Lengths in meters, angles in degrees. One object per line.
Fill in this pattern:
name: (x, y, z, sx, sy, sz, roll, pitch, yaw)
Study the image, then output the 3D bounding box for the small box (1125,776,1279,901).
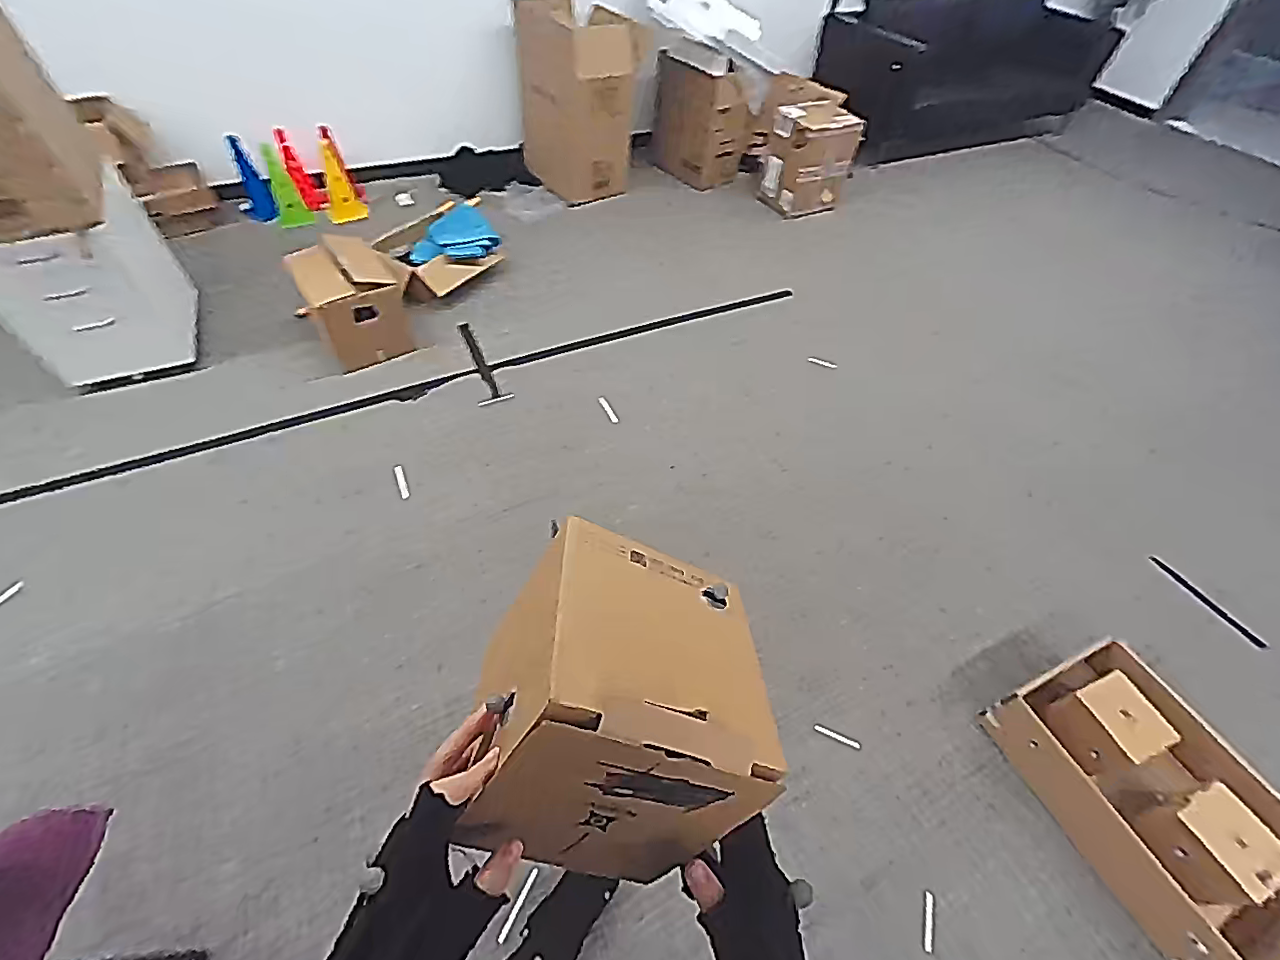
small box: (1.272, 0.810, 1.220, 0.168, 0.176, 0.179, -18, 52, -17)

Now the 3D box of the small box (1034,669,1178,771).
small box: (1.169, 0.615, 1.371, 0.168, 0.176, 0.179, -16, 54, -17)

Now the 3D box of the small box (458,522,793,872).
small box: (-0.017, 0.163, 0.421, 0.168, 0.179, 0.176, 25, 29, -17)
